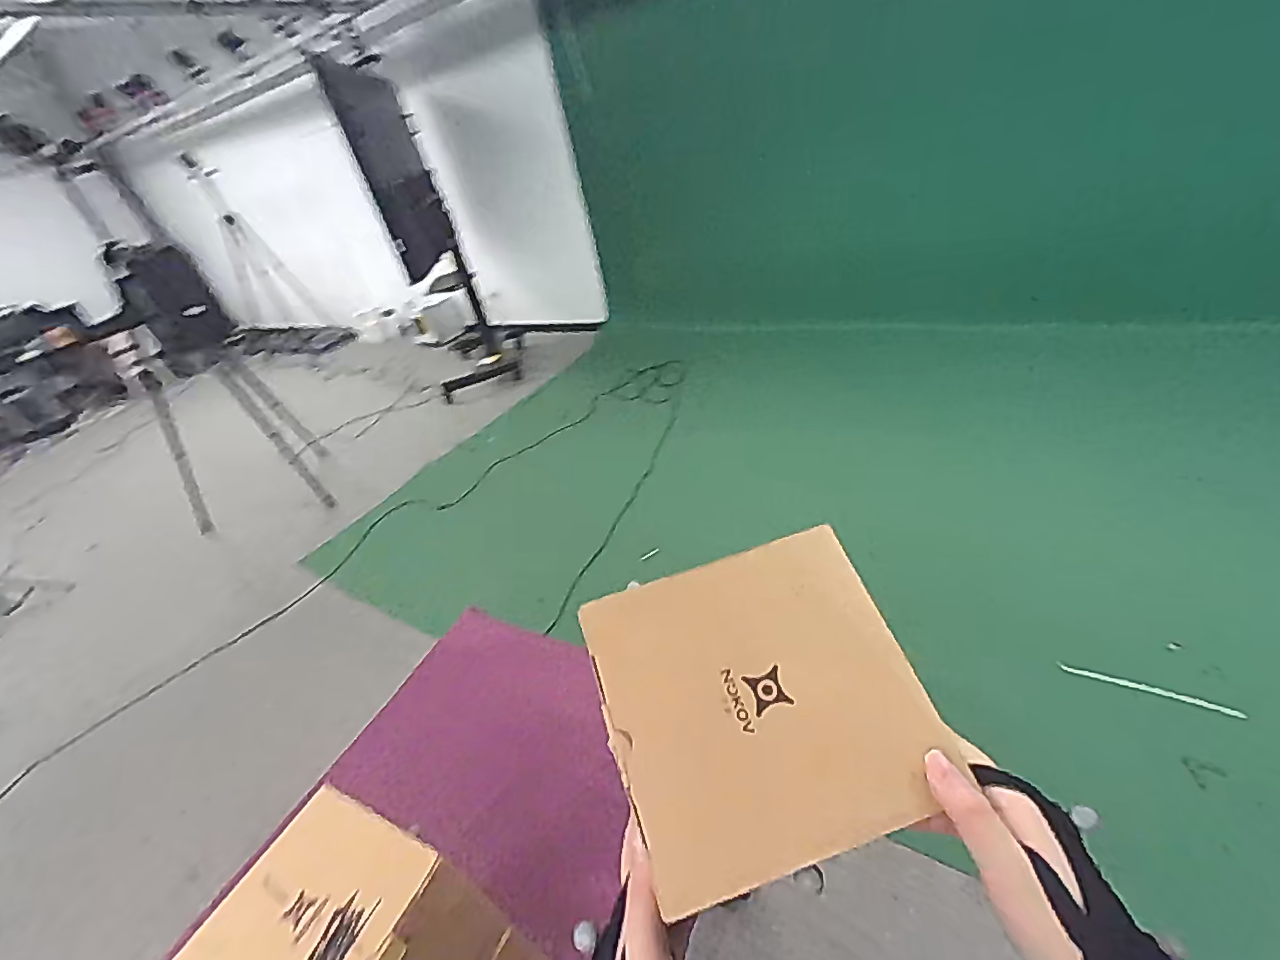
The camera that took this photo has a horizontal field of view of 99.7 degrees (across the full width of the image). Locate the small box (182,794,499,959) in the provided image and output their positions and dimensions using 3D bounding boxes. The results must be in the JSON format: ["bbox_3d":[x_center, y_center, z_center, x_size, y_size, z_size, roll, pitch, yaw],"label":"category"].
[{"bbox_3d":[-0.263,0.437,0.498,0.179,0.176,0.168,4,38,29],"label":"small box"}]

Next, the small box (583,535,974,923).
[{"bbox_3d":[0.075,0.166,0.379,0.179,0.176,0.168,-18,59,-4],"label":"small box"}]
